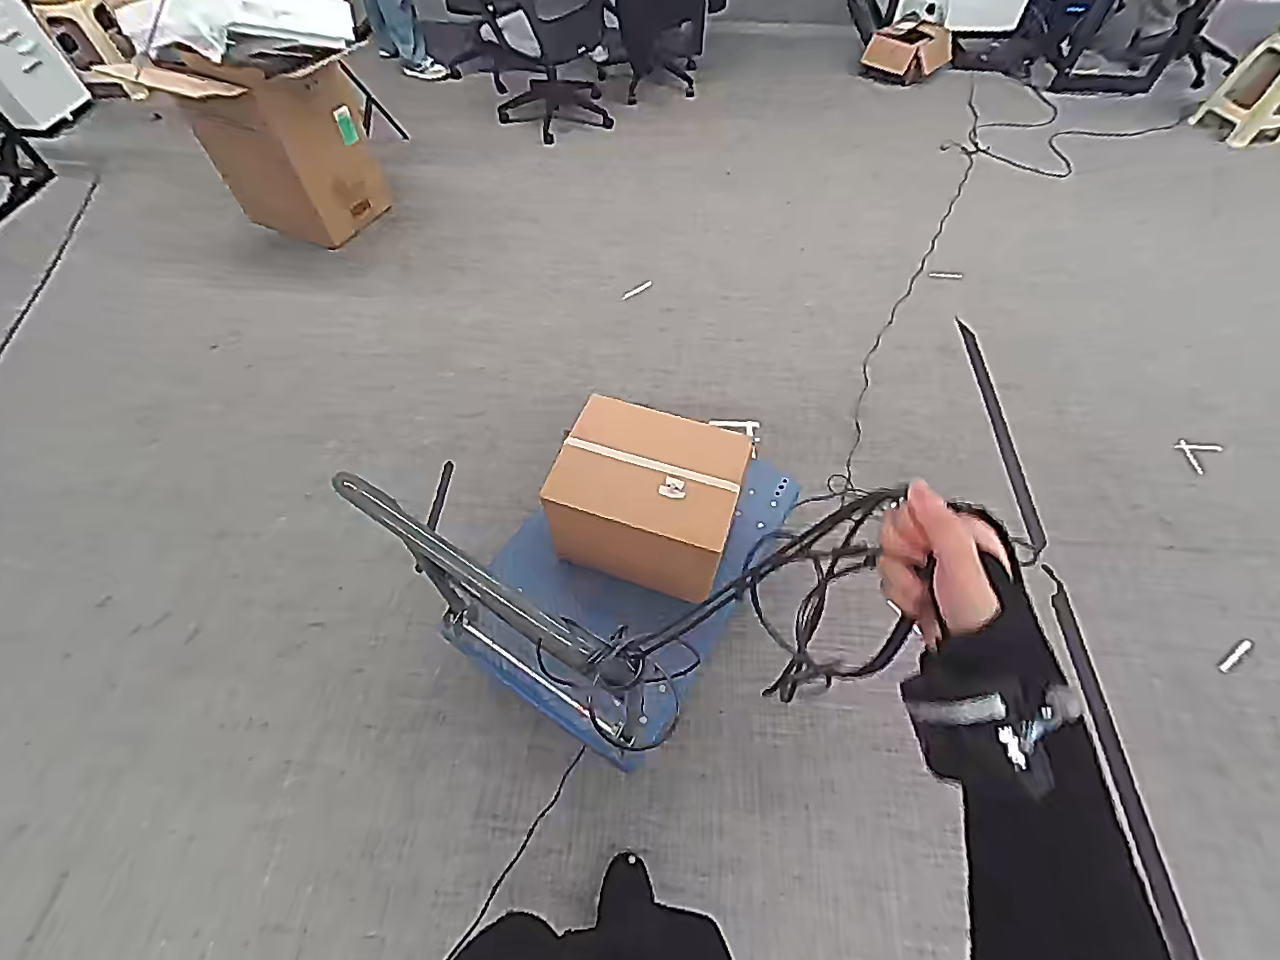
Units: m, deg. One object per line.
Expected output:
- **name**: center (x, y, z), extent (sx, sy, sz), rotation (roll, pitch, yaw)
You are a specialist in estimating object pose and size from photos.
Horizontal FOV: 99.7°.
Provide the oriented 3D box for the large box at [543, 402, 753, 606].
- **large box**: center (0.021, 0.062, 1.317), extent (0.408, 0.320, 0.320), rotation (16, 59, 9)
